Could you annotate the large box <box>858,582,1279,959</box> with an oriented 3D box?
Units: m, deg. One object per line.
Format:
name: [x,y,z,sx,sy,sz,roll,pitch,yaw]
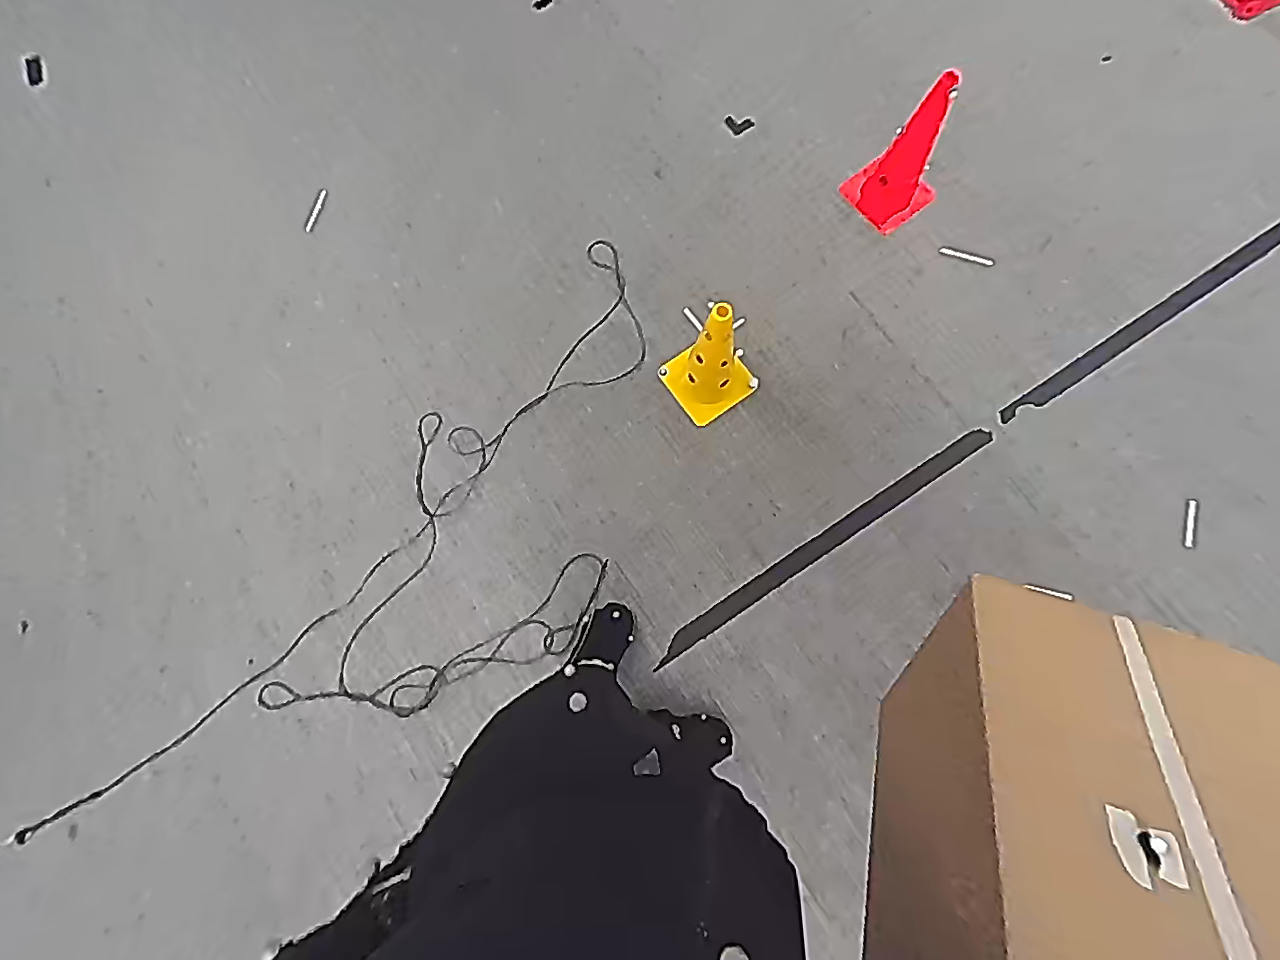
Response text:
large box: [0.446,0.393,0.573,0.320,0.320,0.408,18,43,14]

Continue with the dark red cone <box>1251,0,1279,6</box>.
dark red cone: [1.807,-1.500,1.404,0.202,0.394,0.201,-28,80,-3]

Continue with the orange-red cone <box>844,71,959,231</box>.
orange-red cone: [0.688,-0.839,1.347,0.199,0.360,0.198,-36,78,-3]
